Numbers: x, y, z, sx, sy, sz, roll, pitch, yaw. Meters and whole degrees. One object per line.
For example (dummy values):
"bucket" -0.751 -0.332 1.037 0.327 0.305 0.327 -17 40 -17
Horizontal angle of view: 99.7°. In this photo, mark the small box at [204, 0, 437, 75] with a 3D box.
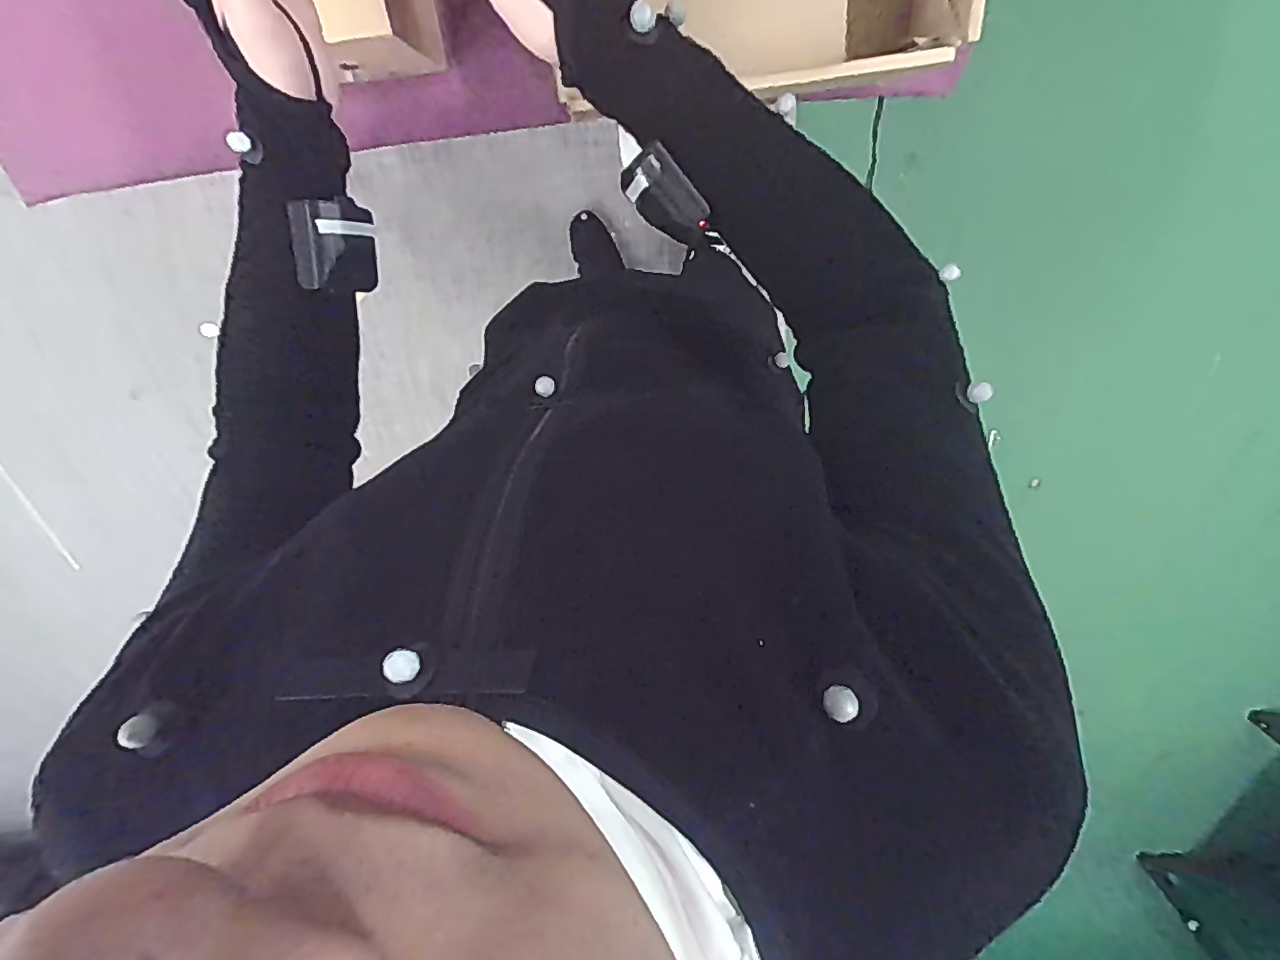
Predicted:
"small box" -0.327 -0.531 0.547 0.168 0.176 0.179 -5 118 2
